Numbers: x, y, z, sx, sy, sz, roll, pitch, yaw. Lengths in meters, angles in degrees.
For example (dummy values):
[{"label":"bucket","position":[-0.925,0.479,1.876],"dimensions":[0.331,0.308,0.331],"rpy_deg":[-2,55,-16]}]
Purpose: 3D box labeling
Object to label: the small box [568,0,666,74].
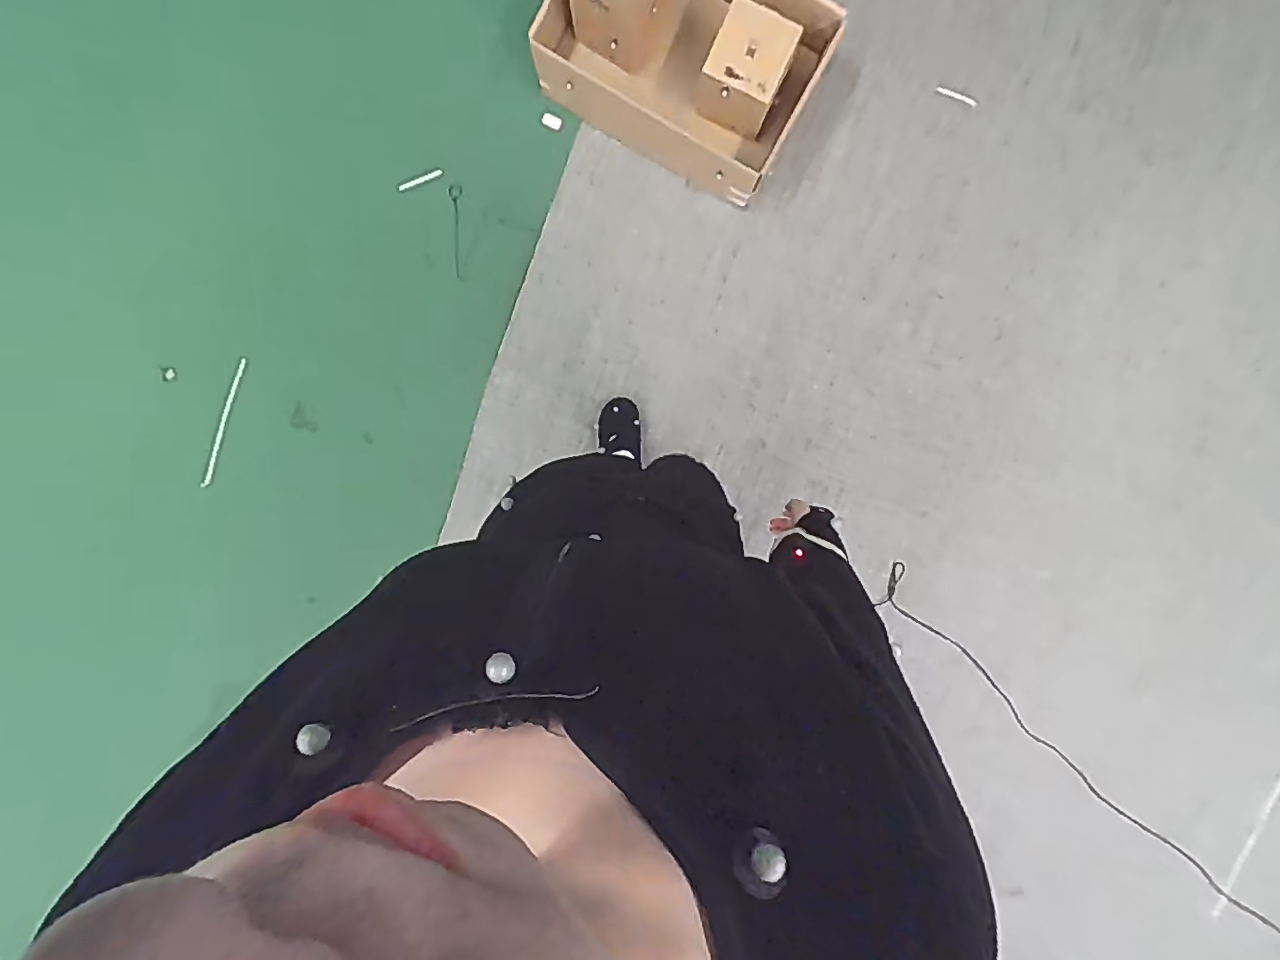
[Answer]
[{"label":"small box","position":[-0.046,-1.097,1.244],"dimensions":[0.168,0.176,0.179],"rpy_deg":[30,95,-4]}]
